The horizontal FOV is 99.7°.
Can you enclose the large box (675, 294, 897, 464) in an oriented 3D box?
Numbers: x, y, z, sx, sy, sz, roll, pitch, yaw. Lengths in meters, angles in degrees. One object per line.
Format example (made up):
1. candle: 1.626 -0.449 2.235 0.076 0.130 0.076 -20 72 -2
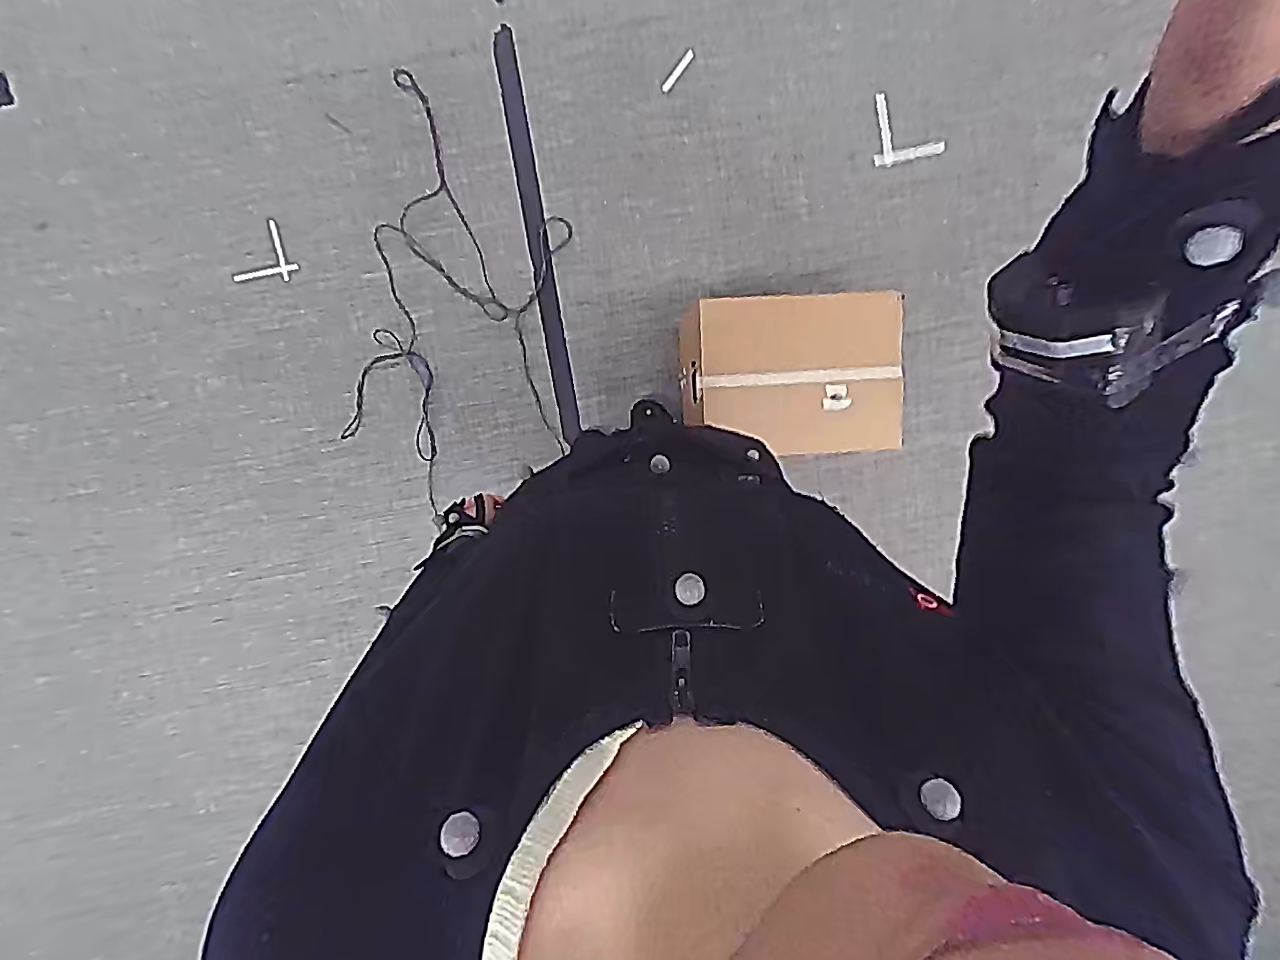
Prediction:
1. large box: 0.305 -0.217 1.219 0.408 0.320 0.320 -4 98 -3
